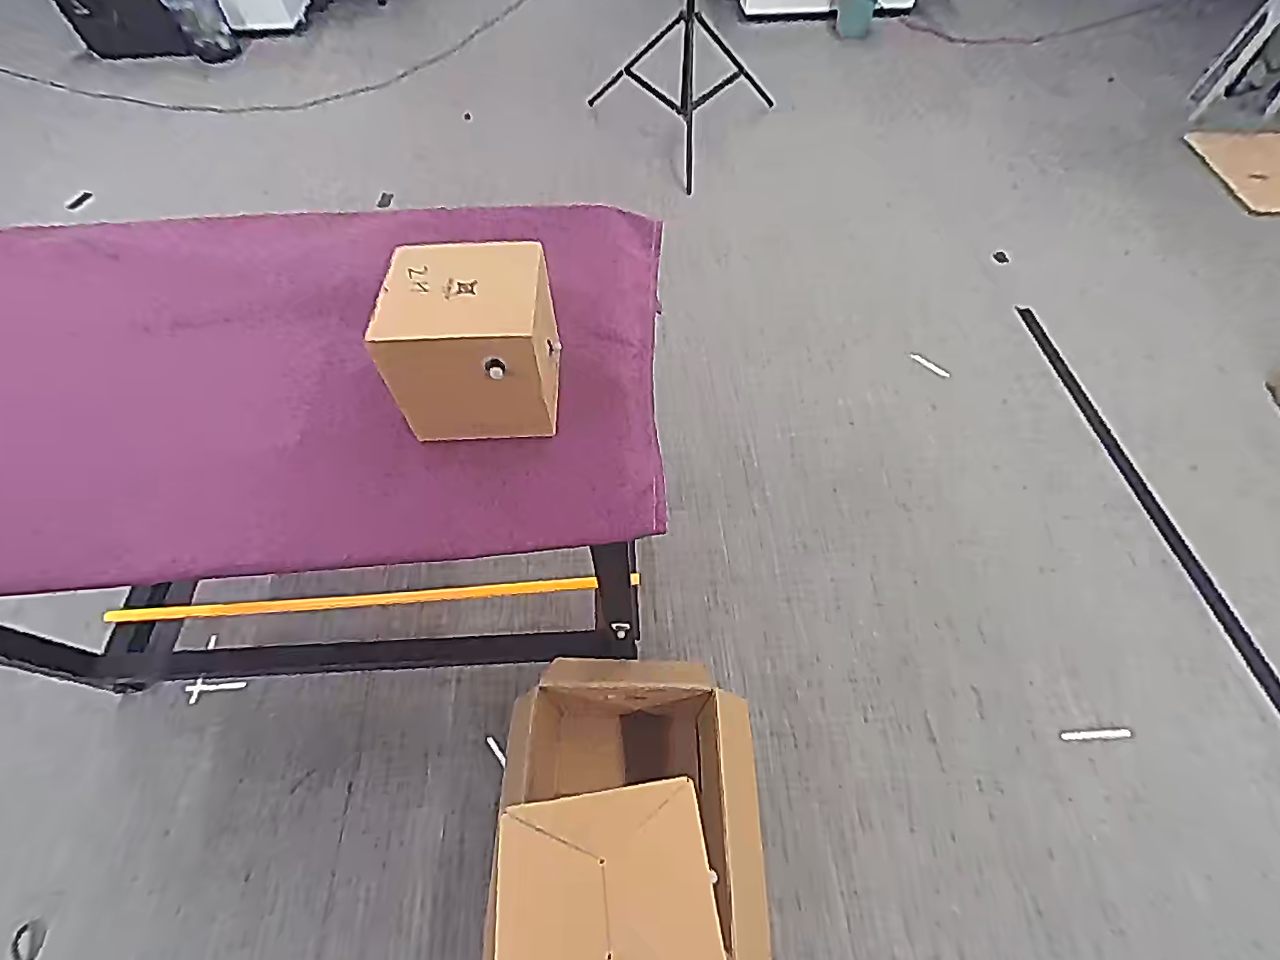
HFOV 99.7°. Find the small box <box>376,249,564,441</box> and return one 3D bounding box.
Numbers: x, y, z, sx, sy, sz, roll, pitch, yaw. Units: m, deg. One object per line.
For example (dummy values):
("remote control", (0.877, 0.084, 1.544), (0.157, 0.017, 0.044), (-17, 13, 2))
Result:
("small box", (-0.191, -0.162, 0.672), (0.179, 0.176, 0.168), (-2, 55, -1))

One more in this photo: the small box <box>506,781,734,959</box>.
("small box", (-0.022, 0.392, 0.484), (0.179, 0.176, 0.168), (-7, 45, -4))
